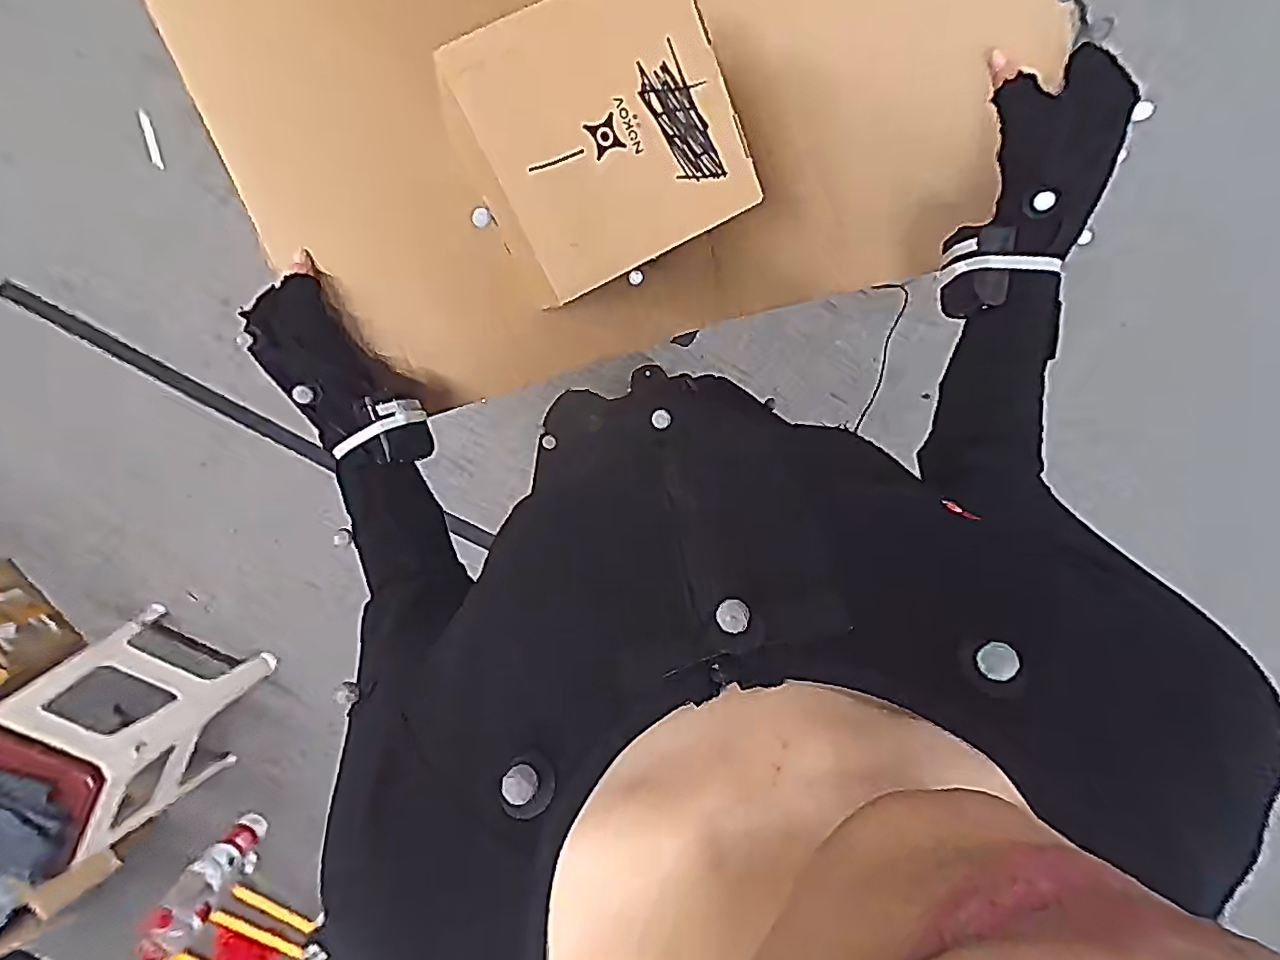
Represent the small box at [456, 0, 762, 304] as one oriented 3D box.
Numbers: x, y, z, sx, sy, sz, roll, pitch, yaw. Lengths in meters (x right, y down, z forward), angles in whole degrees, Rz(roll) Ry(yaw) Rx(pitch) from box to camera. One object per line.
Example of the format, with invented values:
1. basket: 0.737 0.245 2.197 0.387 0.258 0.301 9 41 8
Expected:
1. small box: -0.033 -0.260 0.450 0.179 0.176 0.168 -28 111 -6
